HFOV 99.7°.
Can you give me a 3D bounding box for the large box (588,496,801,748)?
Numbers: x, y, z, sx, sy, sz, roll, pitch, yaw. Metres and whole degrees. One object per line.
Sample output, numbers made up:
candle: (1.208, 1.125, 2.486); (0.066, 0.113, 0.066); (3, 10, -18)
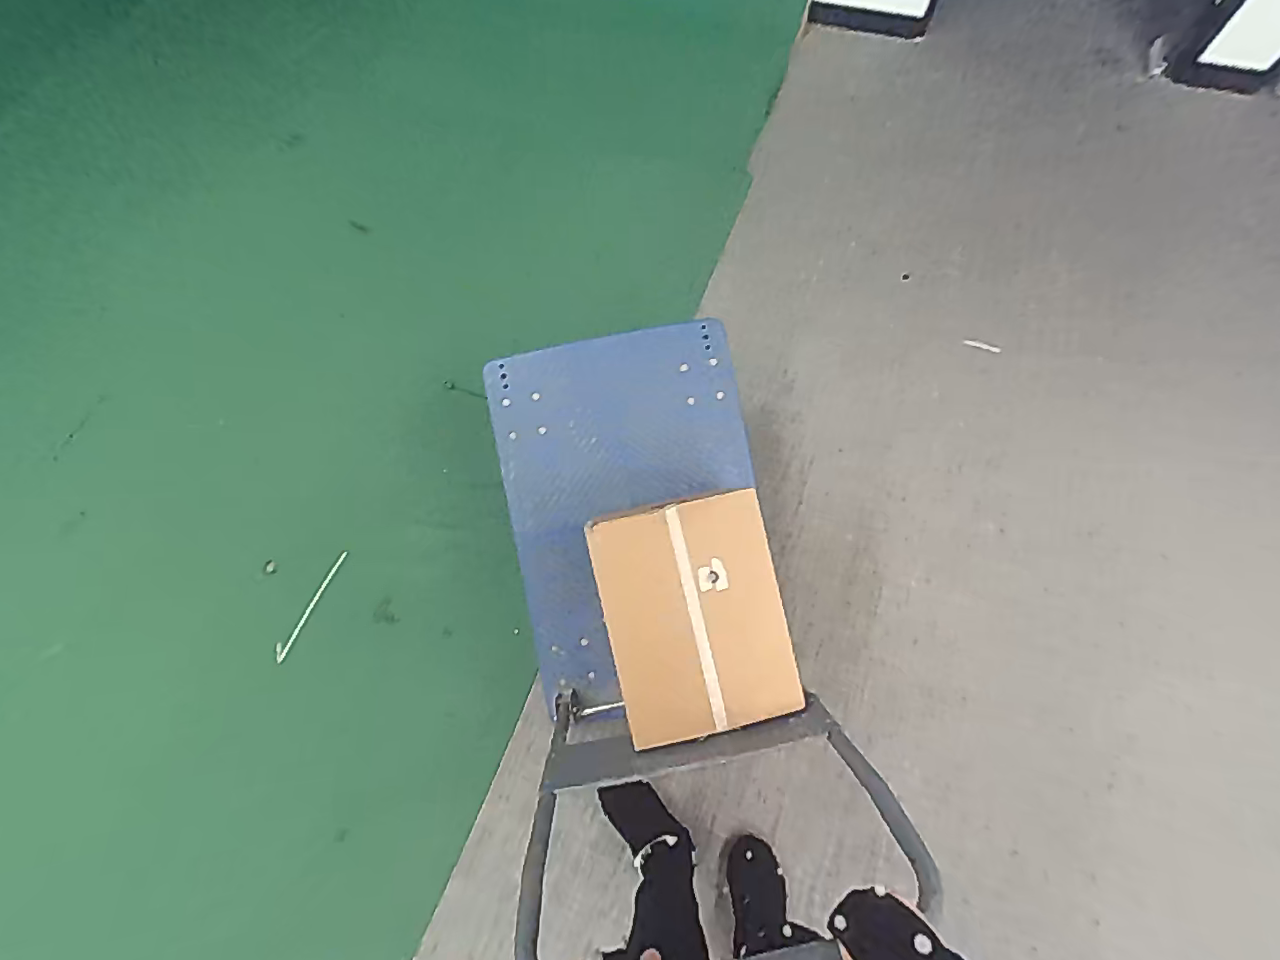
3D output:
large box: (0.098, 0.261, 1.123); (0.320, 0.320, 0.408); (-13, 89, -2)
